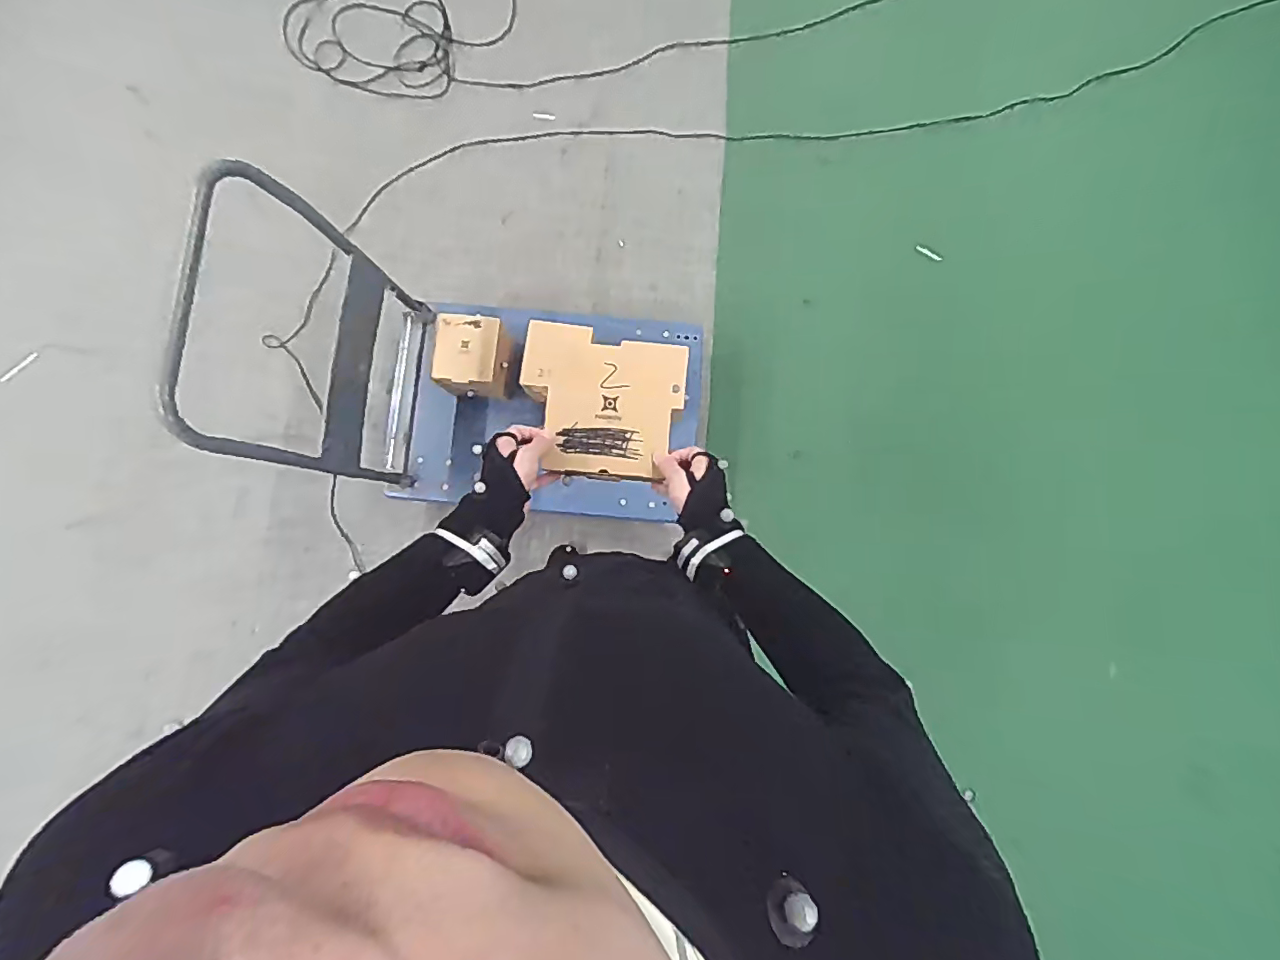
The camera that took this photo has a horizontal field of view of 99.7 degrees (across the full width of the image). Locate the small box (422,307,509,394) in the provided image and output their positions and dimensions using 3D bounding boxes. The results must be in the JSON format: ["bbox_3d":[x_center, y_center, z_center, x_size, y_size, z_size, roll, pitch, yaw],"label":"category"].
[{"bbox_3d":[-0.457,-0.338,1.440,0.168,0.176,0.179,7,85,0],"label":"small box"}]

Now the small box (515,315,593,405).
[{"bbox_3d":[-0.222,-0.315,1.439,0.168,0.176,0.179,8,84,1],"label":"small box"}]

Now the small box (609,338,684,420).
[{"bbox_3d":[0.018,-0.262,1.434,0.179,0.176,0.168,7,85,1],"label":"small box"}]
